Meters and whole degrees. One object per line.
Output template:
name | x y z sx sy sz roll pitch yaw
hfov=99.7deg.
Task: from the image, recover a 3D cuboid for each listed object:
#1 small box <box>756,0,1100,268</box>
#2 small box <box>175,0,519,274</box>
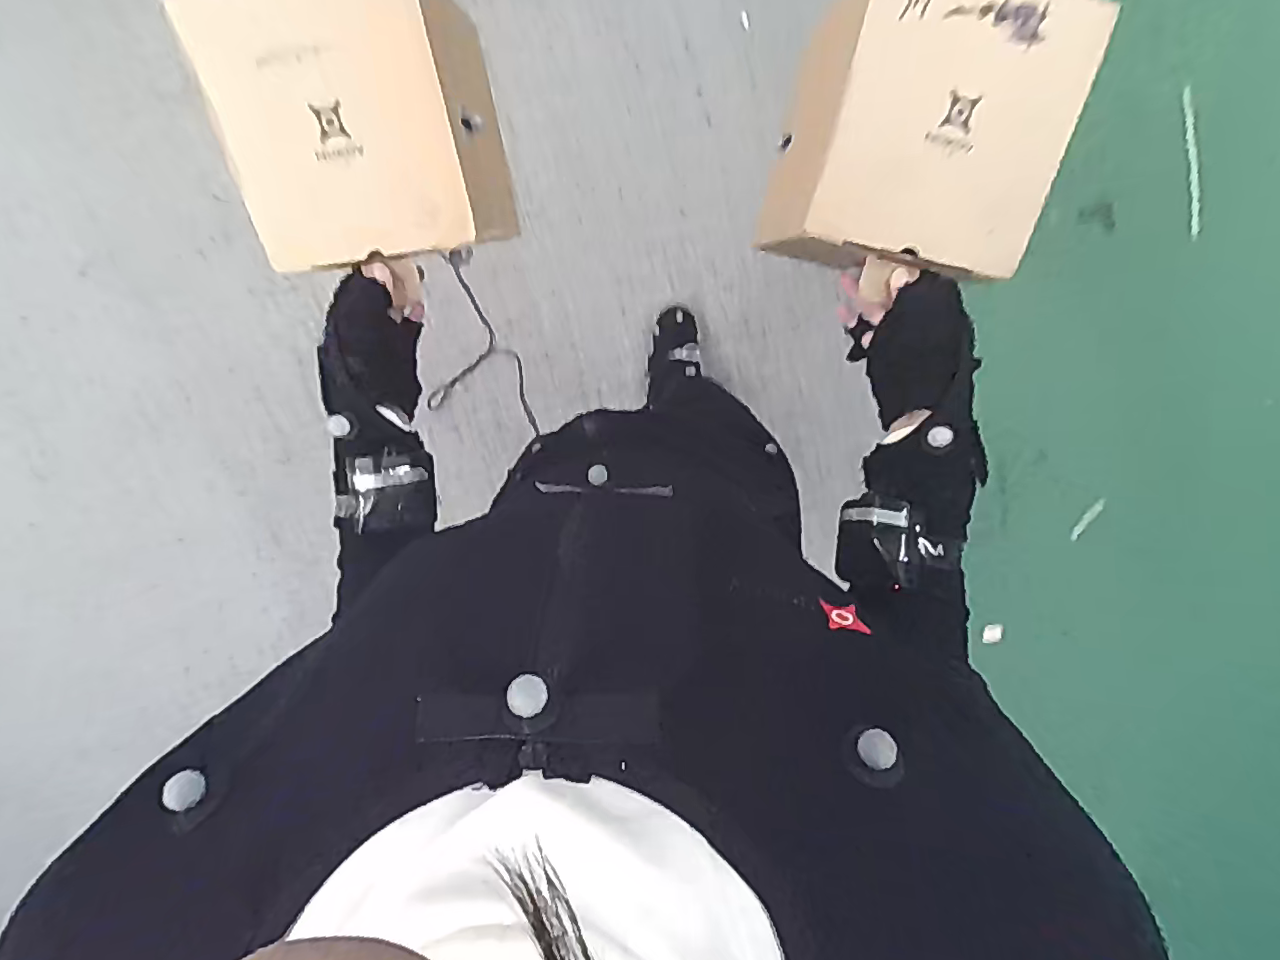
small box | 0.207 -0.284 0.452 0.168 0.176 0.179 10 110 -5
small box | -0.214 -0.287 0.460 0.168 0.176 0.179 -9 115 5
